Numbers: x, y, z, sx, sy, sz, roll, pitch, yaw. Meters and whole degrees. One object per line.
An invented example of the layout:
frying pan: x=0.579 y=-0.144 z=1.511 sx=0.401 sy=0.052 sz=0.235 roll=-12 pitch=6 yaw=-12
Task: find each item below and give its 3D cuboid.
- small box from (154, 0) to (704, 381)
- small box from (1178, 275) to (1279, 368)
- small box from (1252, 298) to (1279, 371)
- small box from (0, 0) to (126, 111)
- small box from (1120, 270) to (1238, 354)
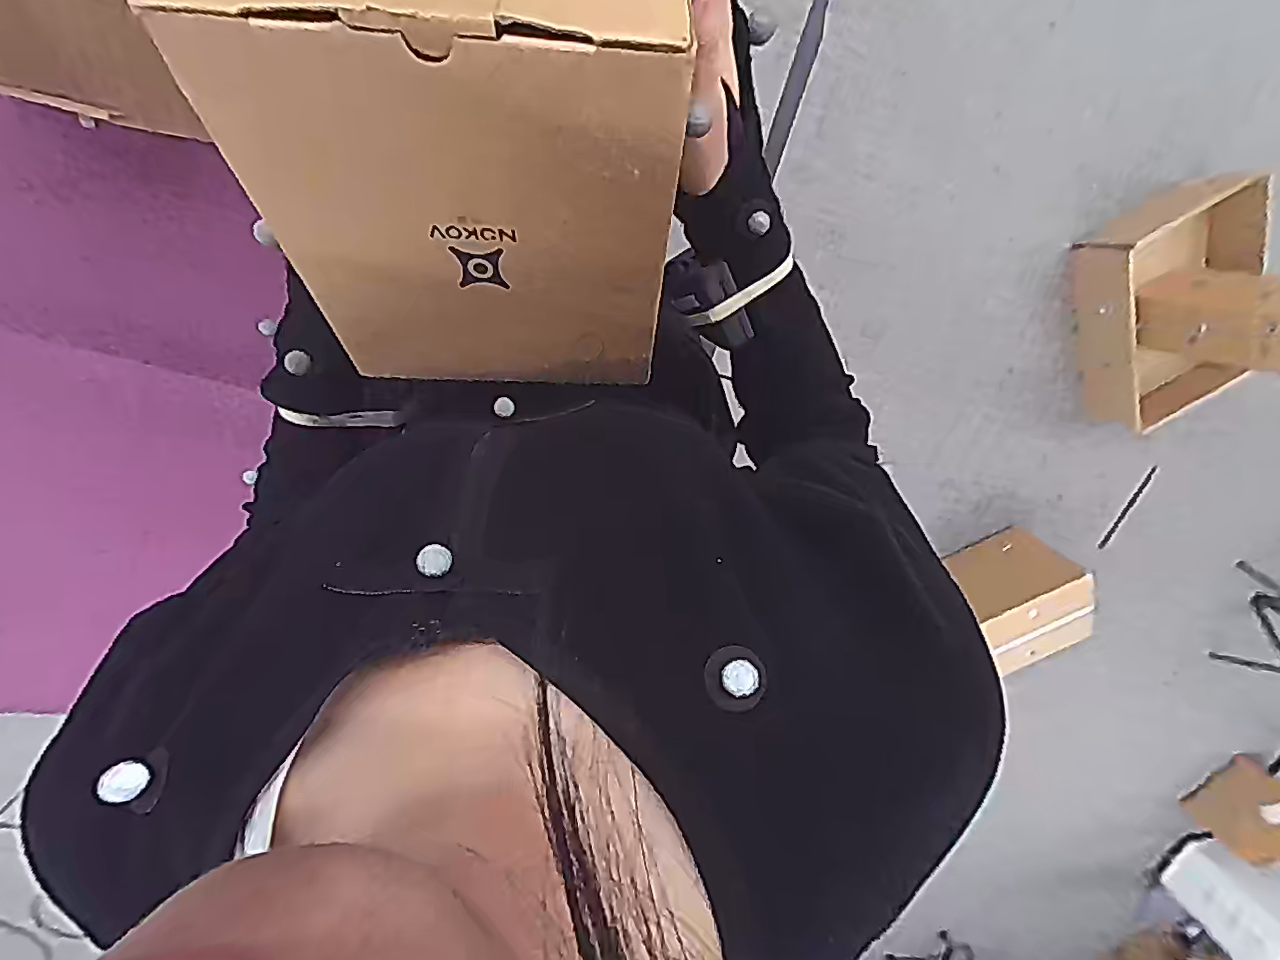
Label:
small box: x=-0.067 y=-0.172 z=0.271 sx=0.168 sy=0.176 sz=0.179 roll=1 pitch=153 yaw=-5
small box: x=1.591 y=-0.426 z=1.429 sx=0.179 sy=0.176 sz=0.168 roll=-28 pitch=117 yaw=3
small box: x=1.626 y=-0.360 z=1.282 sx=0.179 sy=0.176 sz=0.168 roll=-30 pitch=117 yaw=1
small box: x=-0.416 y=-0.316 z=0.268 sx=0.168 sy=0.176 sz=0.179 roll=6 pitch=114 yaw=-14
small box: x=1.557 y=-0.495 z=1.571 sx=0.179 sy=0.176 sz=0.168 roll=-27 pitch=117 yaw=2
